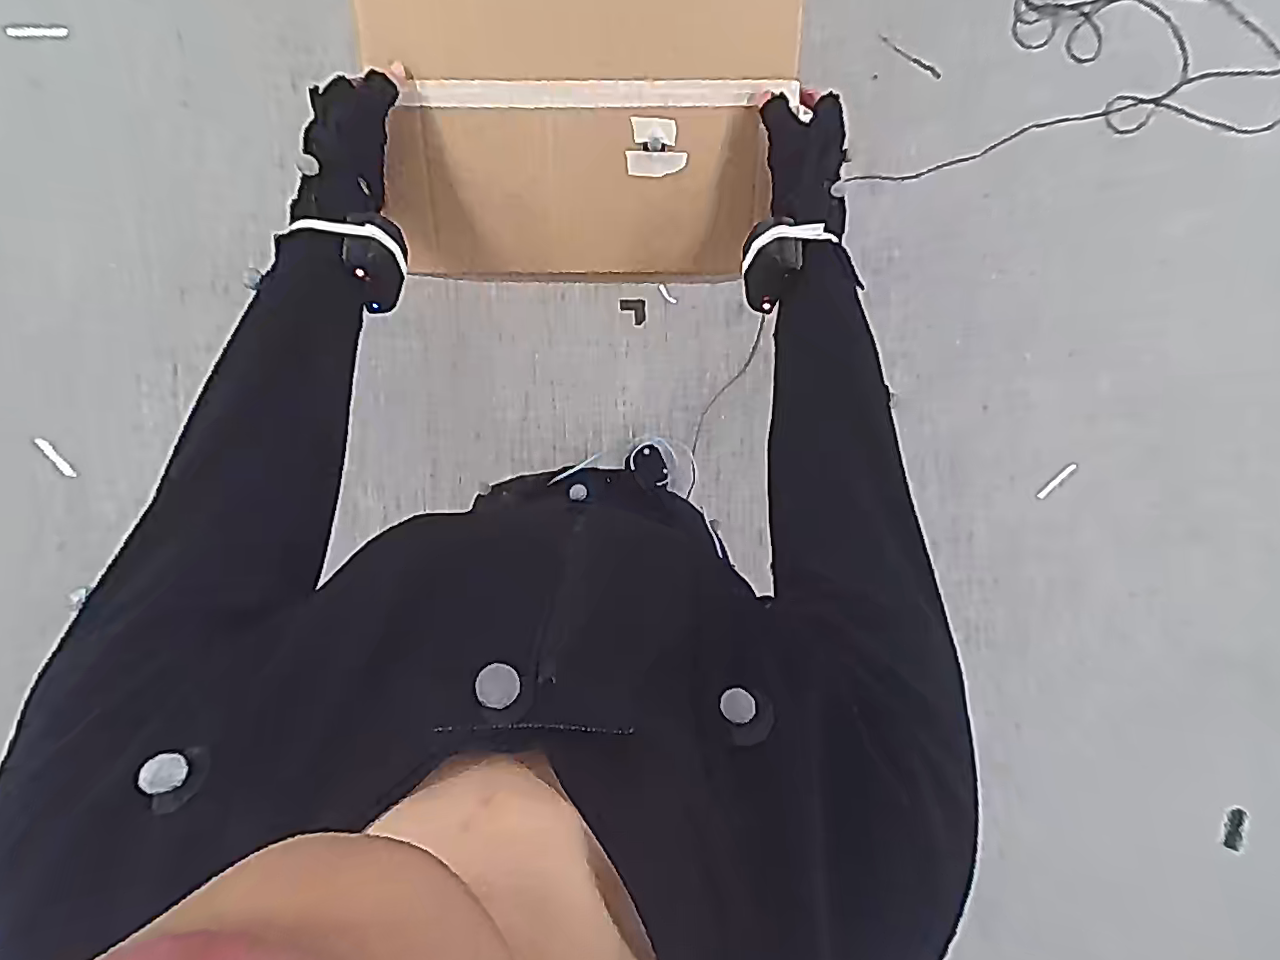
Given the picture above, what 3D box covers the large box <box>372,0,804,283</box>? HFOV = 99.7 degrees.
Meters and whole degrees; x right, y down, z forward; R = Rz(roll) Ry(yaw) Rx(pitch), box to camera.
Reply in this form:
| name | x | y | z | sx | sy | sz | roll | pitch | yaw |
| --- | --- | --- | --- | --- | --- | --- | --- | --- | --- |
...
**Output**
| name | x | y | z | sx | sy | sz | roll | pitch | yaw |
| --- | --- | --- | --- | --- | --- | --- | --- | --- | --- |
| large box | -0.052 | -0.415 | 0.659 | 0.408 | 0.320 | 0.320 | -1 | 108 | -2 |
